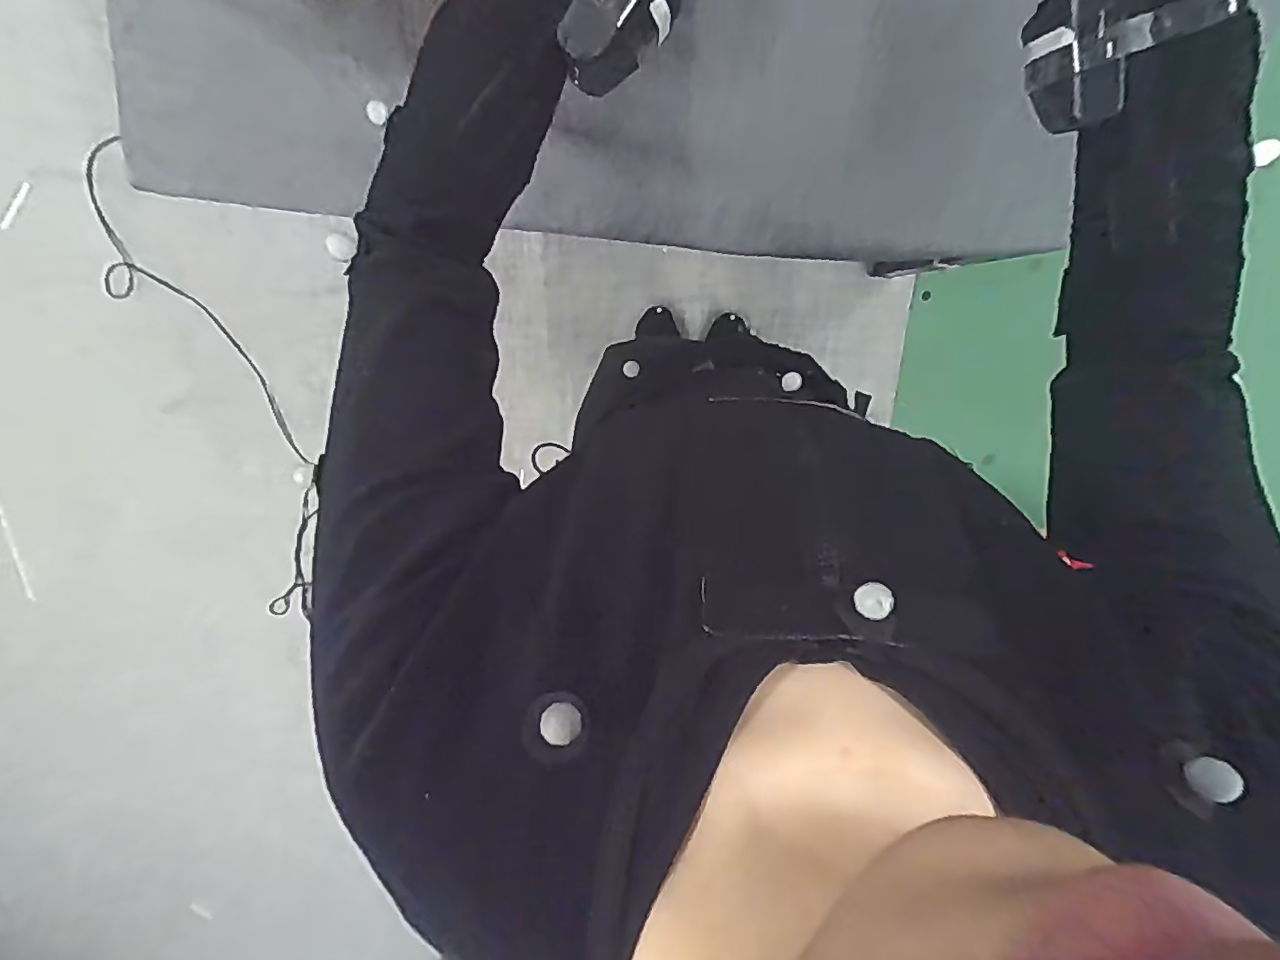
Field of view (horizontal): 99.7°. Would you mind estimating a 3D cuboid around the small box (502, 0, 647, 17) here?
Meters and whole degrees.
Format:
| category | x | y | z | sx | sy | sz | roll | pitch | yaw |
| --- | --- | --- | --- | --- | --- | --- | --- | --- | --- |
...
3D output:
| category | x | y | z | sx | sy | sz | roll | pitch | yaw |
| --- | --- | --- | --- | --- | --- | --- | --- | --- | --- |
| small box | -0.073 | -0.564 | 0.483 | 0.168 | 0.176 | 0.179 | 0 | 107 | 1 |
